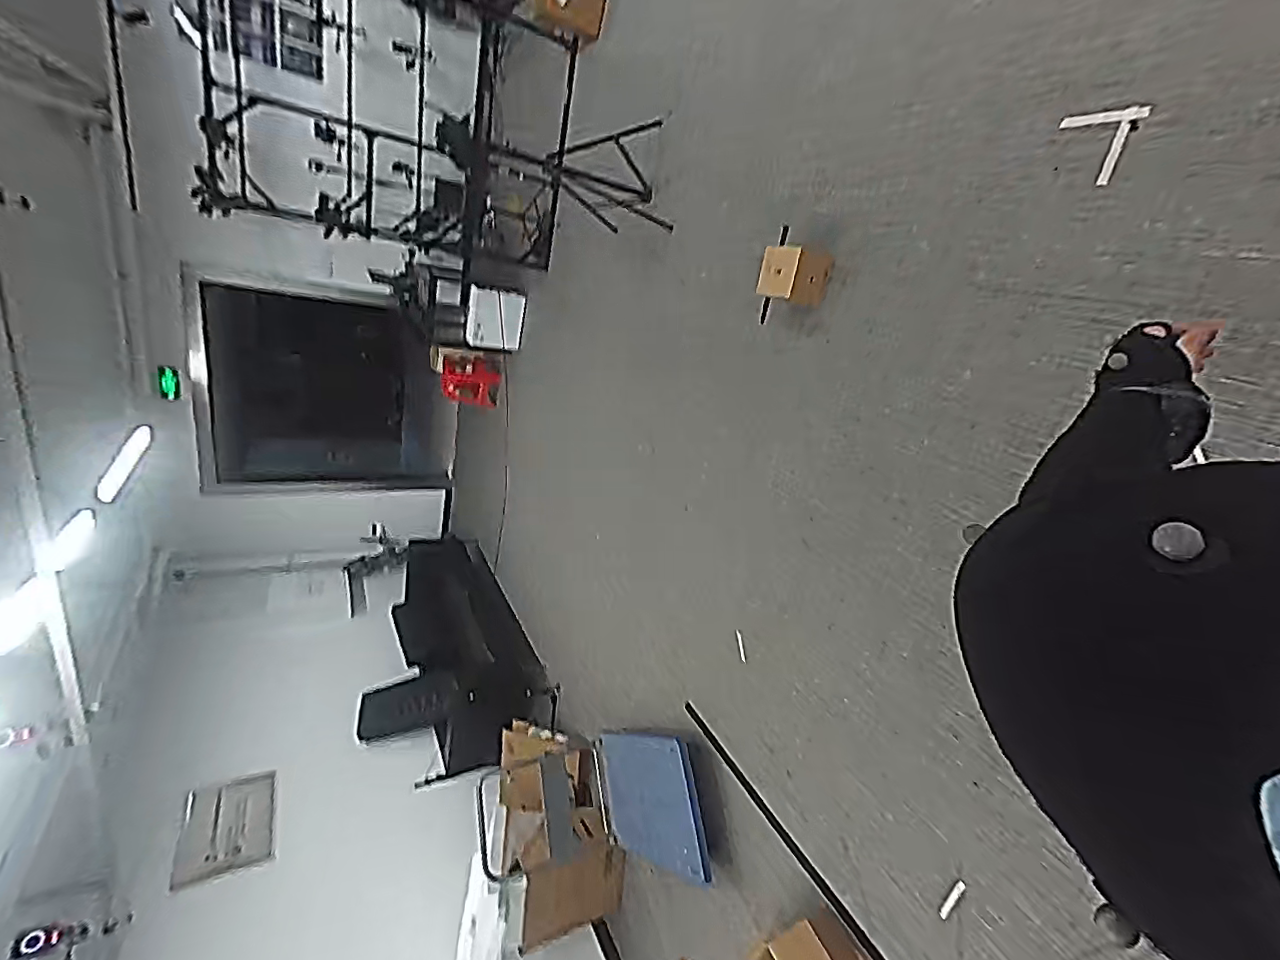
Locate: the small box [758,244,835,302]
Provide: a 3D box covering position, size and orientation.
[{"bbox_3d":[0.554,-0.729,1.909,0.179,0.176,0.168,37,122,53],"label":"small box"}]
